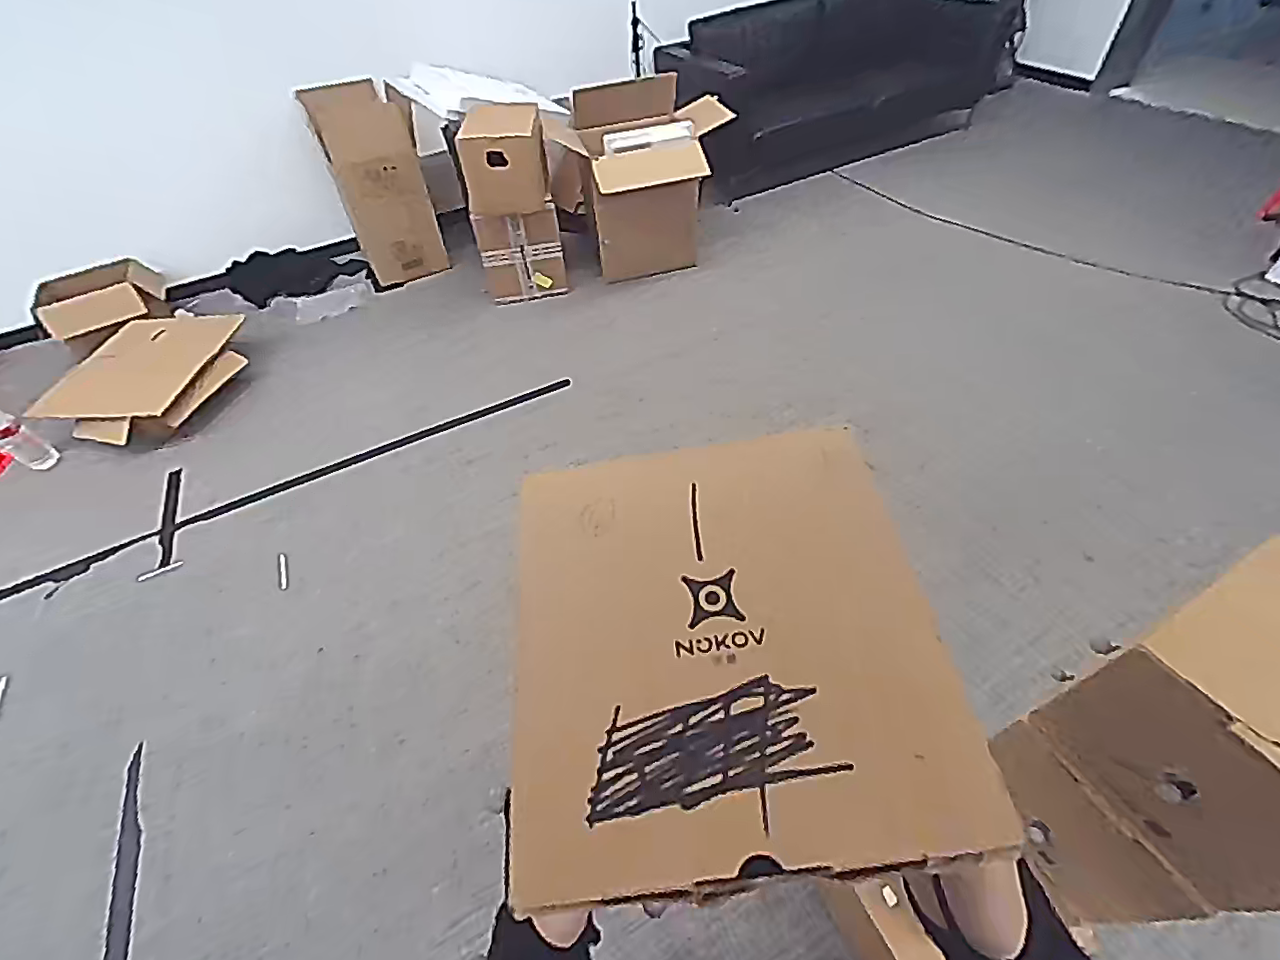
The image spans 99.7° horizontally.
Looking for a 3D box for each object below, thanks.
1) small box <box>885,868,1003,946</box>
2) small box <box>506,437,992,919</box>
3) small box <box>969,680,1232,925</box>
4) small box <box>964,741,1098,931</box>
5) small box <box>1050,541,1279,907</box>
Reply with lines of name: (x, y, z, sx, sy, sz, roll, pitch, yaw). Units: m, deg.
small box: (0.498, 0.625, 0.893, 0.168, 0.176, 0.179, -25, 52, -14)
small box: (0.037, 0.106, 0.289, 0.168, 0.176, 0.179, -9, 55, 2)
small box: (0.470, 0.294, 0.531, 0.179, 0.176, 0.168, -25, 51, -14)
small box: (0.480, 0.403, 0.655, 0.179, 0.176, 0.168, -24, 52, -13)
small box: (0.462, 0.186, 0.409, 0.179, 0.176, 0.168, -26, 52, -14)
